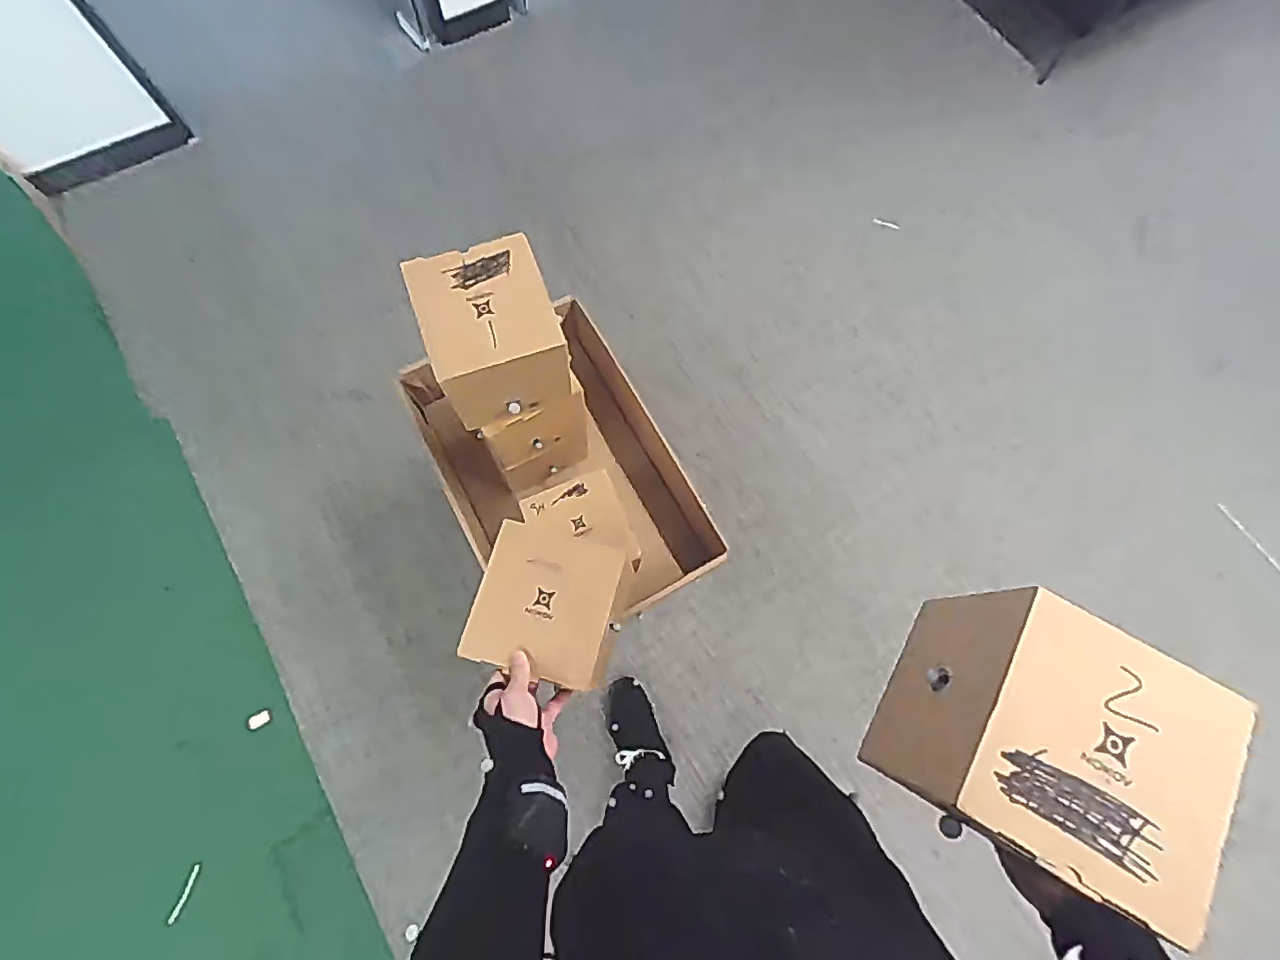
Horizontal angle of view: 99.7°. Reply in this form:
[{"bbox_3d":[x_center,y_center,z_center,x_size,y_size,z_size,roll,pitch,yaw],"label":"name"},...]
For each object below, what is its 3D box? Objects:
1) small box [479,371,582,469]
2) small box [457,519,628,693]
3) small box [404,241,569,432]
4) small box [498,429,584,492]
[{"bbox_3d":[-0.209,-0.144,0.914,0.168,0.176,0.179,-29,78,-12],"label":"small box"},{"bbox_3d":[-0.116,0.173,0.736,0.168,0.176,0.179,14,73,6],"label":"small box"},{"bbox_3d":[-0.204,-0.192,0.757,0.168,0.176,0.179,-19,77,-9],"label":"small box"},{"bbox_3d":[-0.222,-0.101,1.069,0.168,0.176,0.179,-28,78,-11],"label":"small box"}]
